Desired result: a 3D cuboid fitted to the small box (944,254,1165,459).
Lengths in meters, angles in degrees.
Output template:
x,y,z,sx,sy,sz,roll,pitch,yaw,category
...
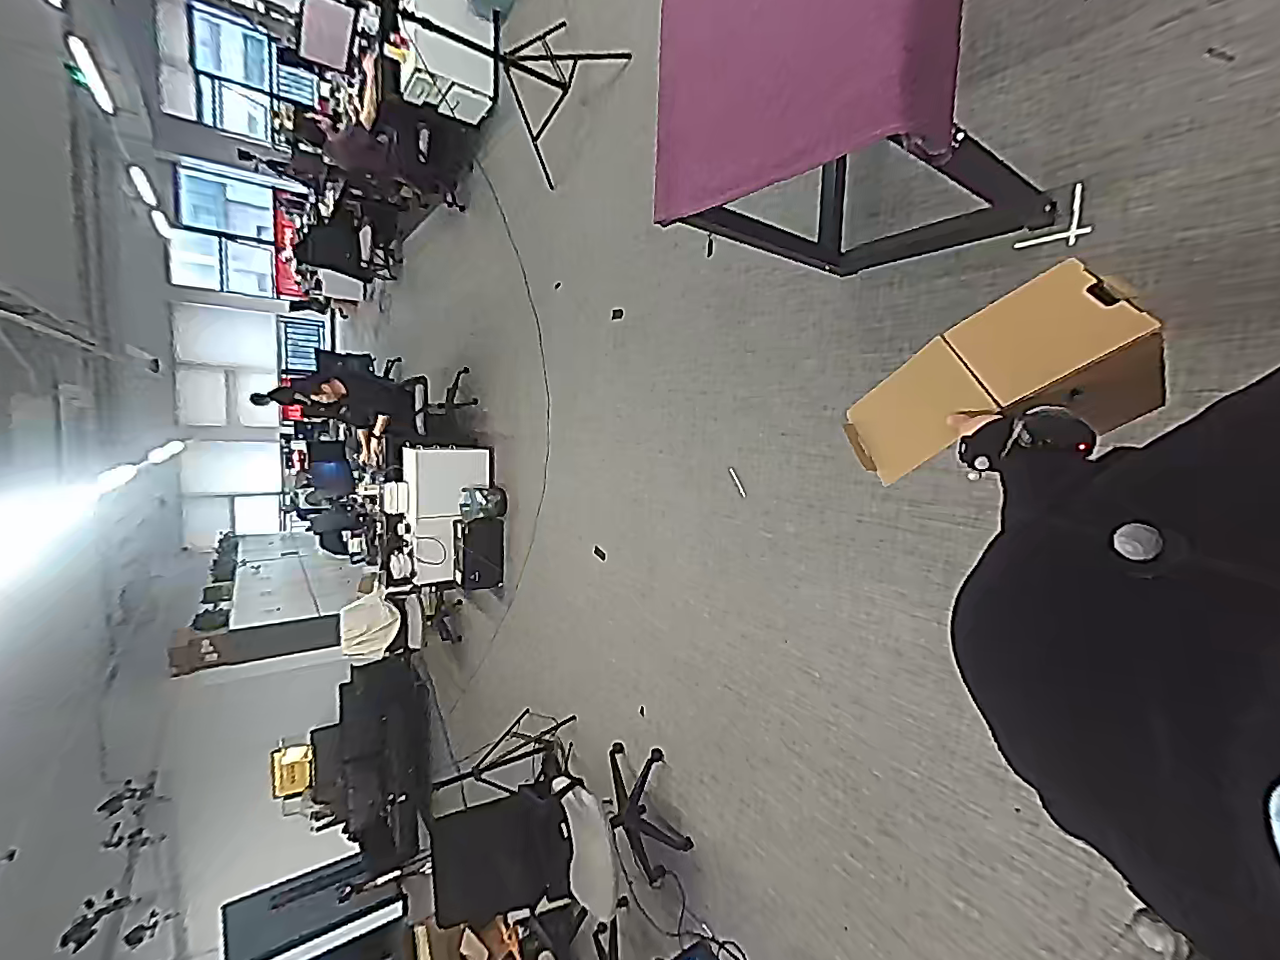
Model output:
x,y,z,sx,sy,sz,roll,pitch,yaw,category
0.561,-0.157,0.737,0.179,0.176,0.168,-32,44,26,small box
